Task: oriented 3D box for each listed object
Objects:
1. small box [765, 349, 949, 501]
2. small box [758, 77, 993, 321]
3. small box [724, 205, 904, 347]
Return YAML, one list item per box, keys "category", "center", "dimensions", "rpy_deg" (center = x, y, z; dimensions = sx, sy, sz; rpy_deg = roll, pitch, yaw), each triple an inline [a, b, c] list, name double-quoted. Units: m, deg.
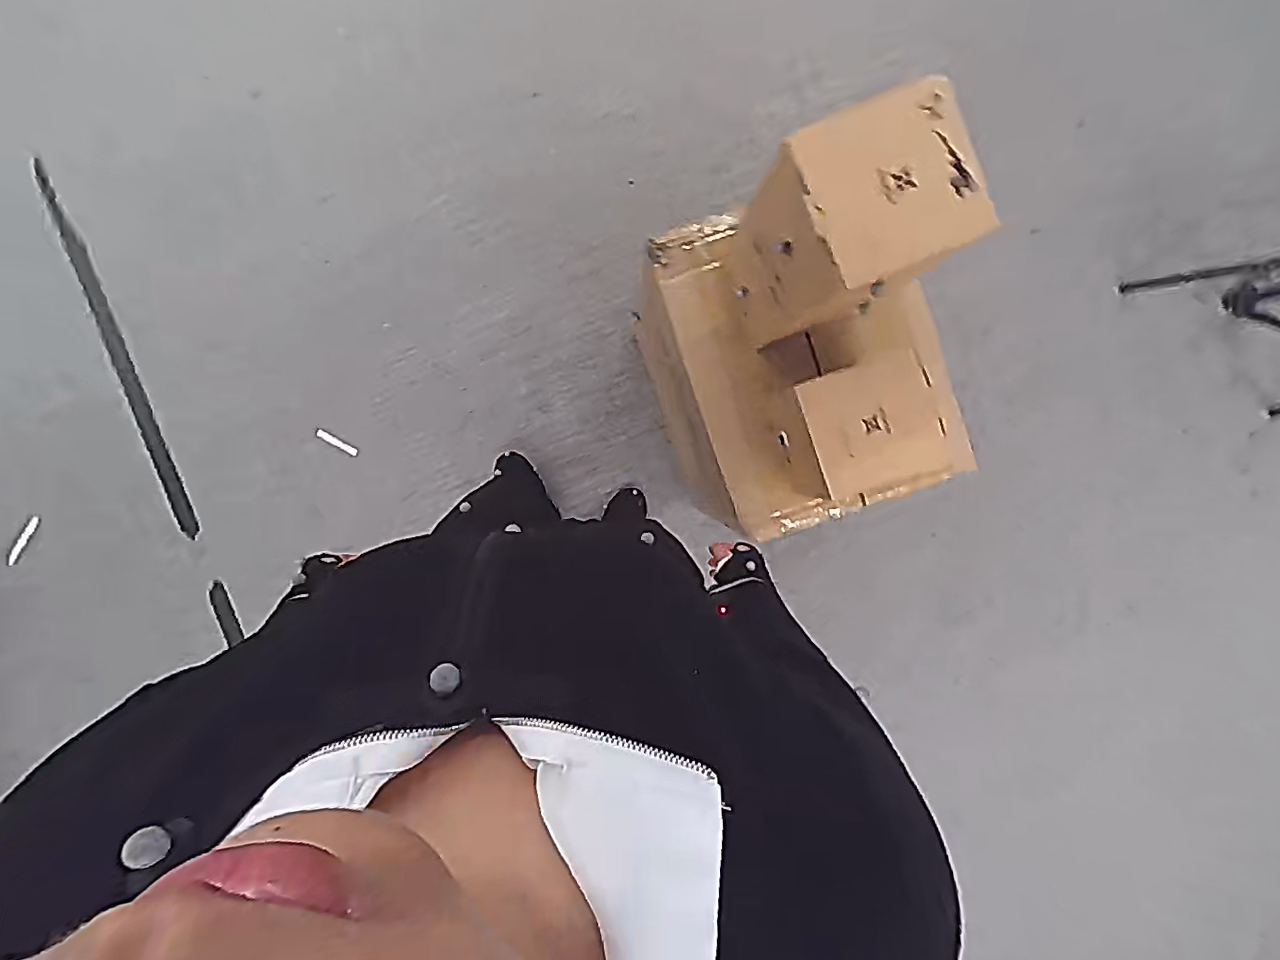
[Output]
- category: "small box"
  center: [0.309, -0.076, 0.804]
  dimensions: [0.179, 0.176, 0.168]
  rpy_deg: [-19, 91, 0]
- category: "small box"
  center: [0.250, -0.304, 0.627]
  dimensions: [0.179, 0.176, 0.168]
  rpy_deg: [-22, 94, 0]
- category: "small box"
  center: [0.242, -0.310, 0.791]
  dimensions: [0.179, 0.176, 0.168]
  rpy_deg: [-21, 94, -1]
